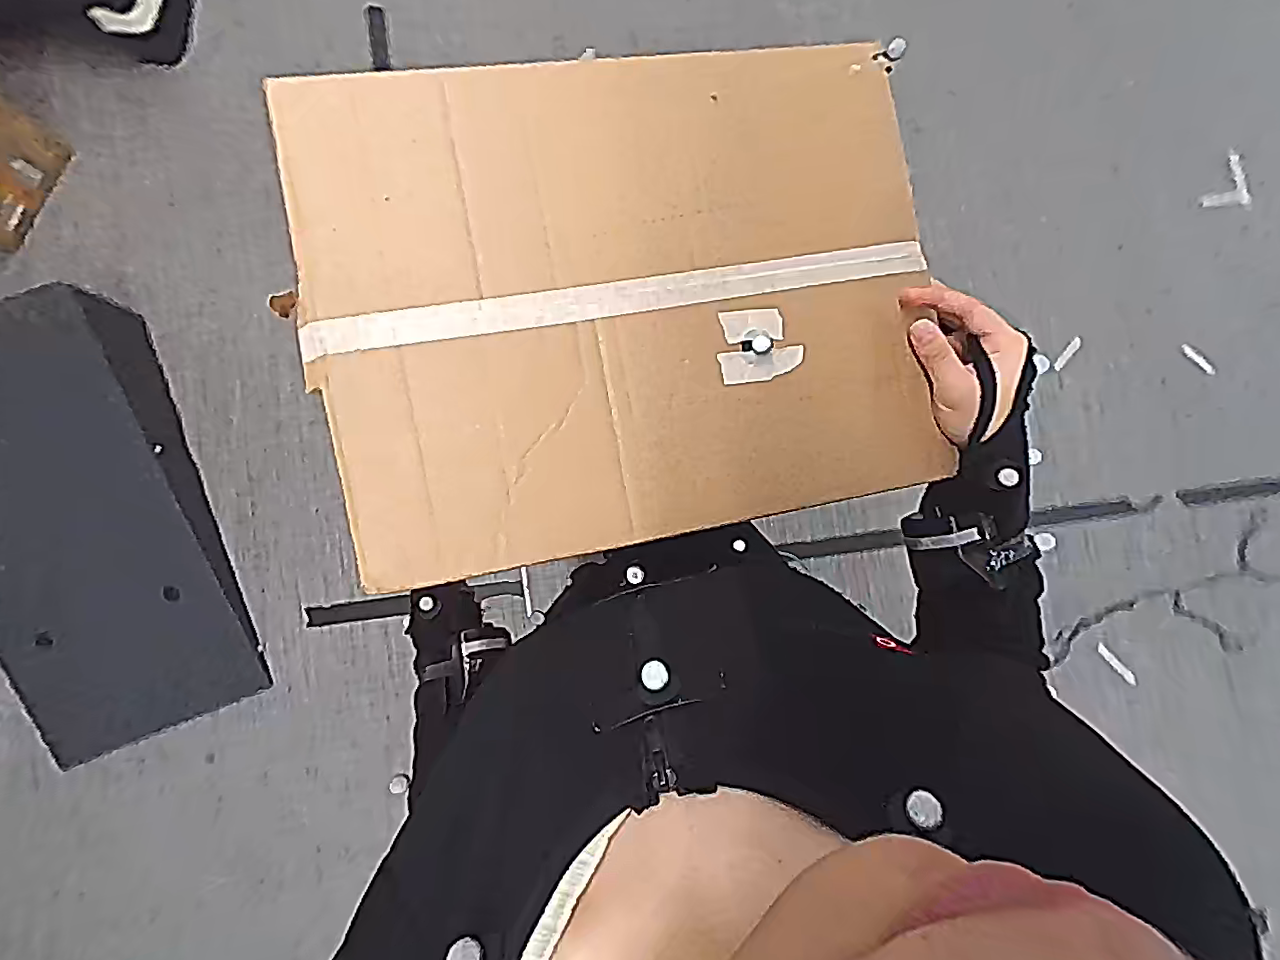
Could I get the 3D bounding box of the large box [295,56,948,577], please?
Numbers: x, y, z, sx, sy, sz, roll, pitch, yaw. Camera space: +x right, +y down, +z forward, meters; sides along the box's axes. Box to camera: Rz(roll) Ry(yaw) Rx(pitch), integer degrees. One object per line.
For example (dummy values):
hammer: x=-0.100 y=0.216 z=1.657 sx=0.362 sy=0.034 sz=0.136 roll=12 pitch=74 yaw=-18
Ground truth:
large box: x=-0.018 y=-0.120 z=0.506 sx=0.408 sy=0.320 sz=0.320 roll=-10 pitch=91 yaw=-10
